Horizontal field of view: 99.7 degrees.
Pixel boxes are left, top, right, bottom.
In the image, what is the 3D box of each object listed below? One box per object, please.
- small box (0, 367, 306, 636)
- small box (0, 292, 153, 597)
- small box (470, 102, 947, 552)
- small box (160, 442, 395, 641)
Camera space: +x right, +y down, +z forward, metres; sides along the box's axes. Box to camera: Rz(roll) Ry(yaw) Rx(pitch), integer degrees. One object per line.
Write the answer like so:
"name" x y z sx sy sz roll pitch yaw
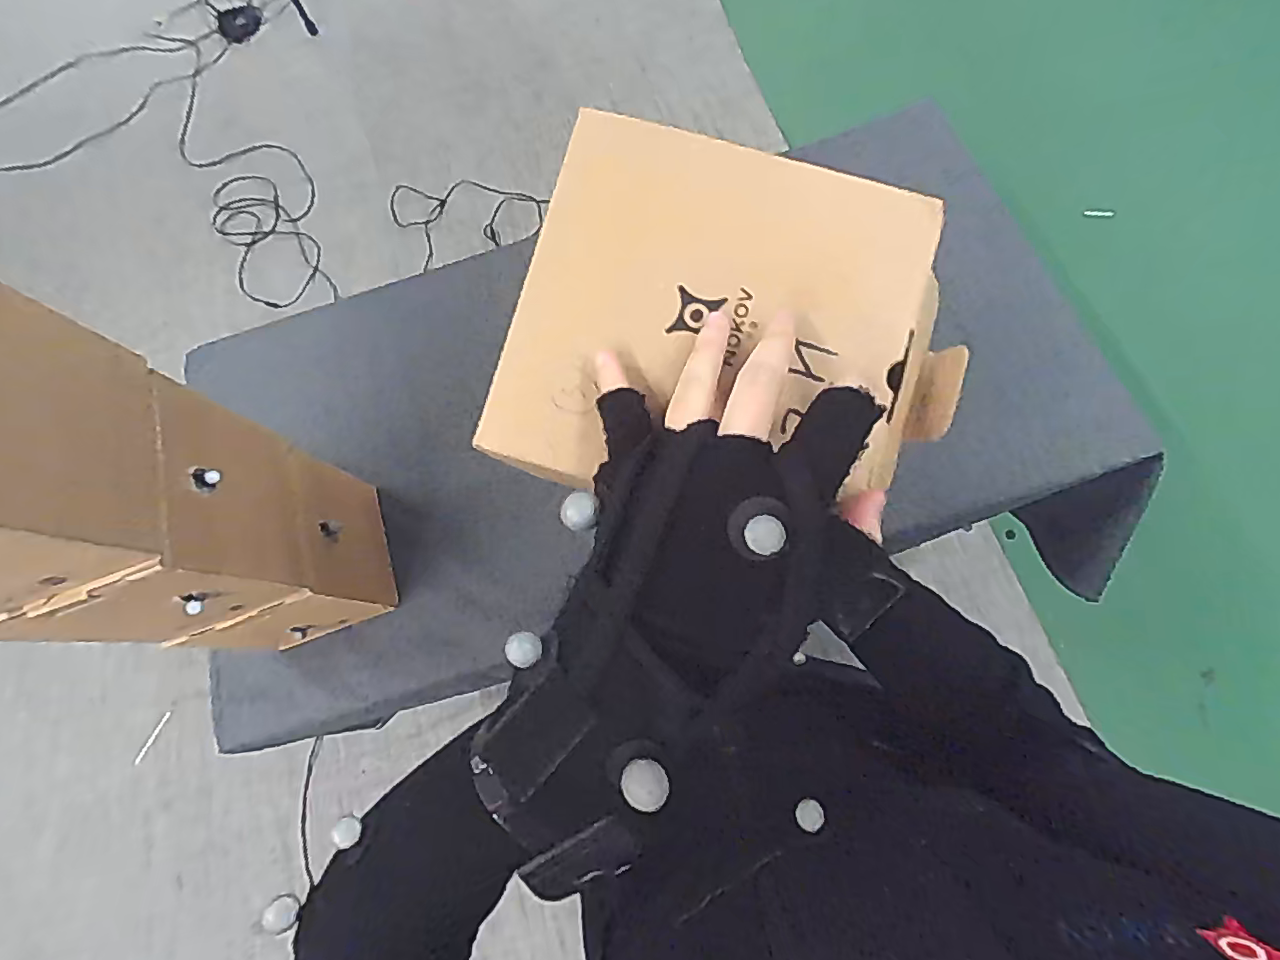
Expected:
"small box" -0.438 0.032 0.492 0.168 0.176 0.179 -19 72 -1
"small box" -0.457 -0.022 0.339 0.168 0.176 0.179 -20 72 -2
"small box" 0.031 -0.065 0.318 0.179 0.176 0.168 17 87 0
"small box" -0.422 0.083 0.646 0.168 0.176 0.179 -20 72 0
